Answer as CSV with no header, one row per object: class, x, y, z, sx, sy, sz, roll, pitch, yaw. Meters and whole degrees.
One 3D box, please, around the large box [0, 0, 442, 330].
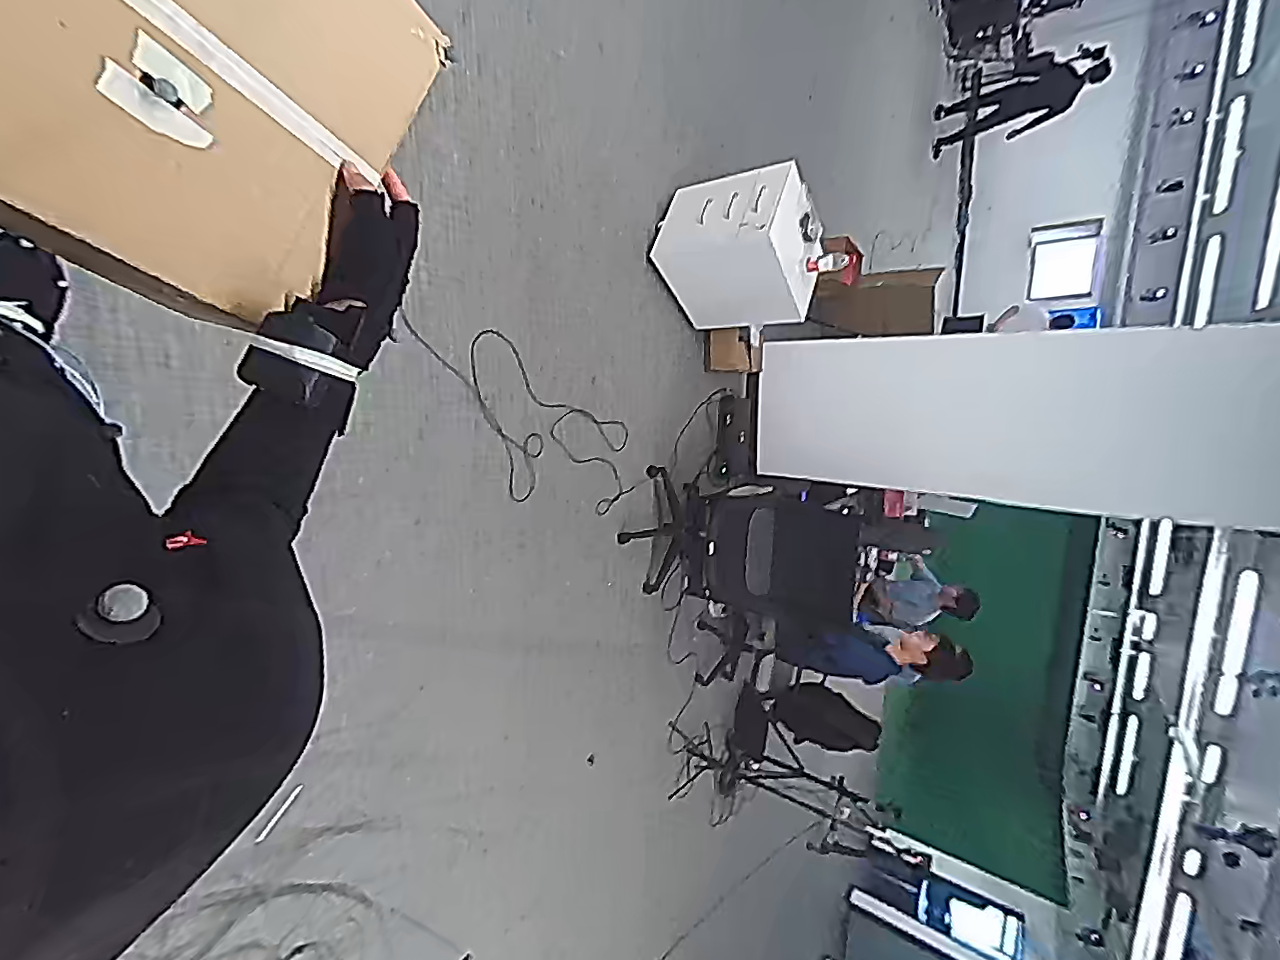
large box,-0.457,-0.364,0.417,0.408,0.320,0.320,32,80,-53
